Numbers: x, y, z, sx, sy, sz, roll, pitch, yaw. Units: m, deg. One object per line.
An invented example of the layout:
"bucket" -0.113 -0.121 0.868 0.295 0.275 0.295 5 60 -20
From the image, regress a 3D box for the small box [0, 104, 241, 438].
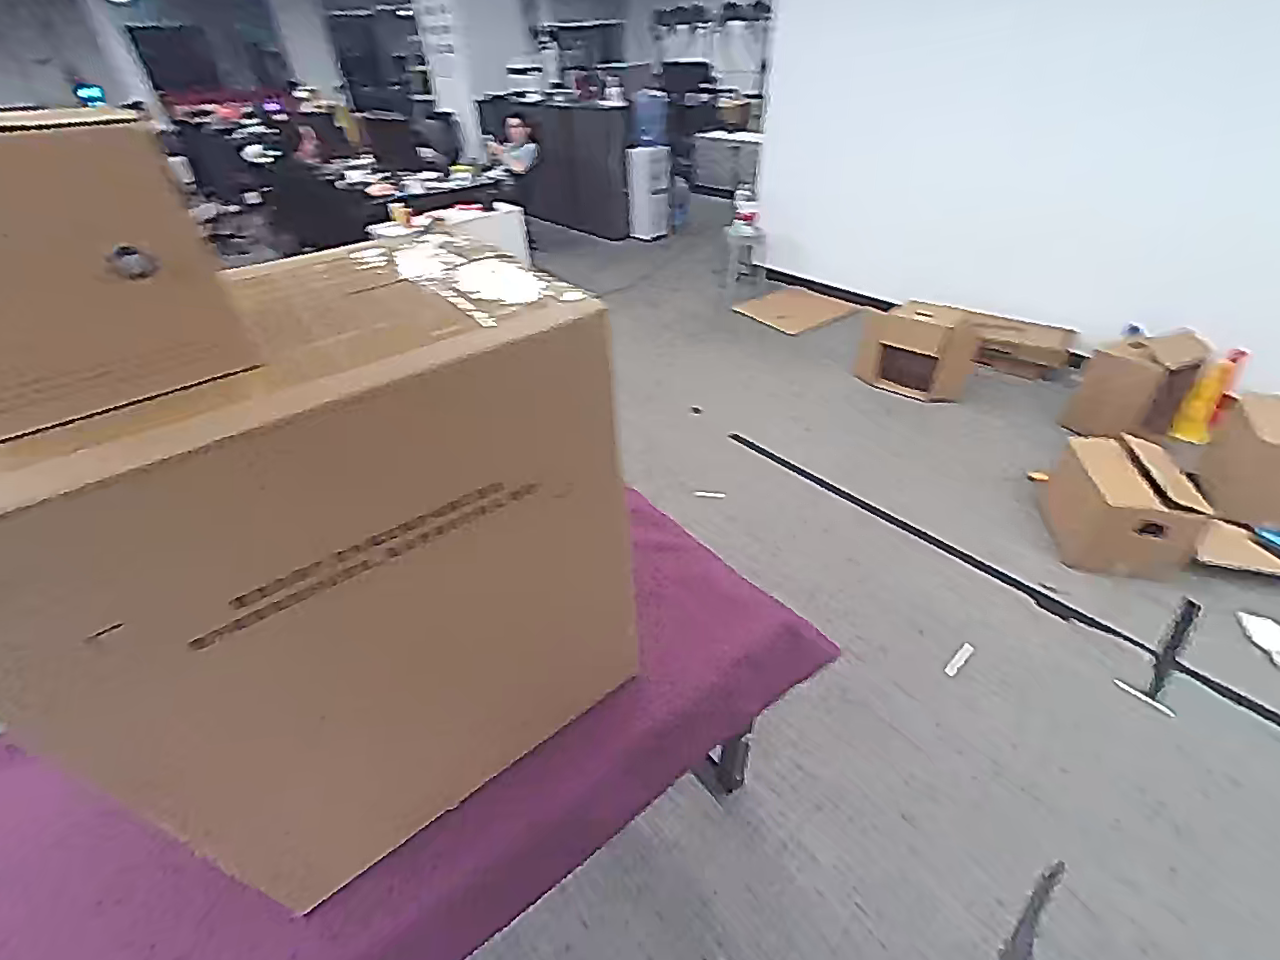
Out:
"small box" -0.423 -0.155 0.384 0.179 0.176 0.168 -31 46 -30
